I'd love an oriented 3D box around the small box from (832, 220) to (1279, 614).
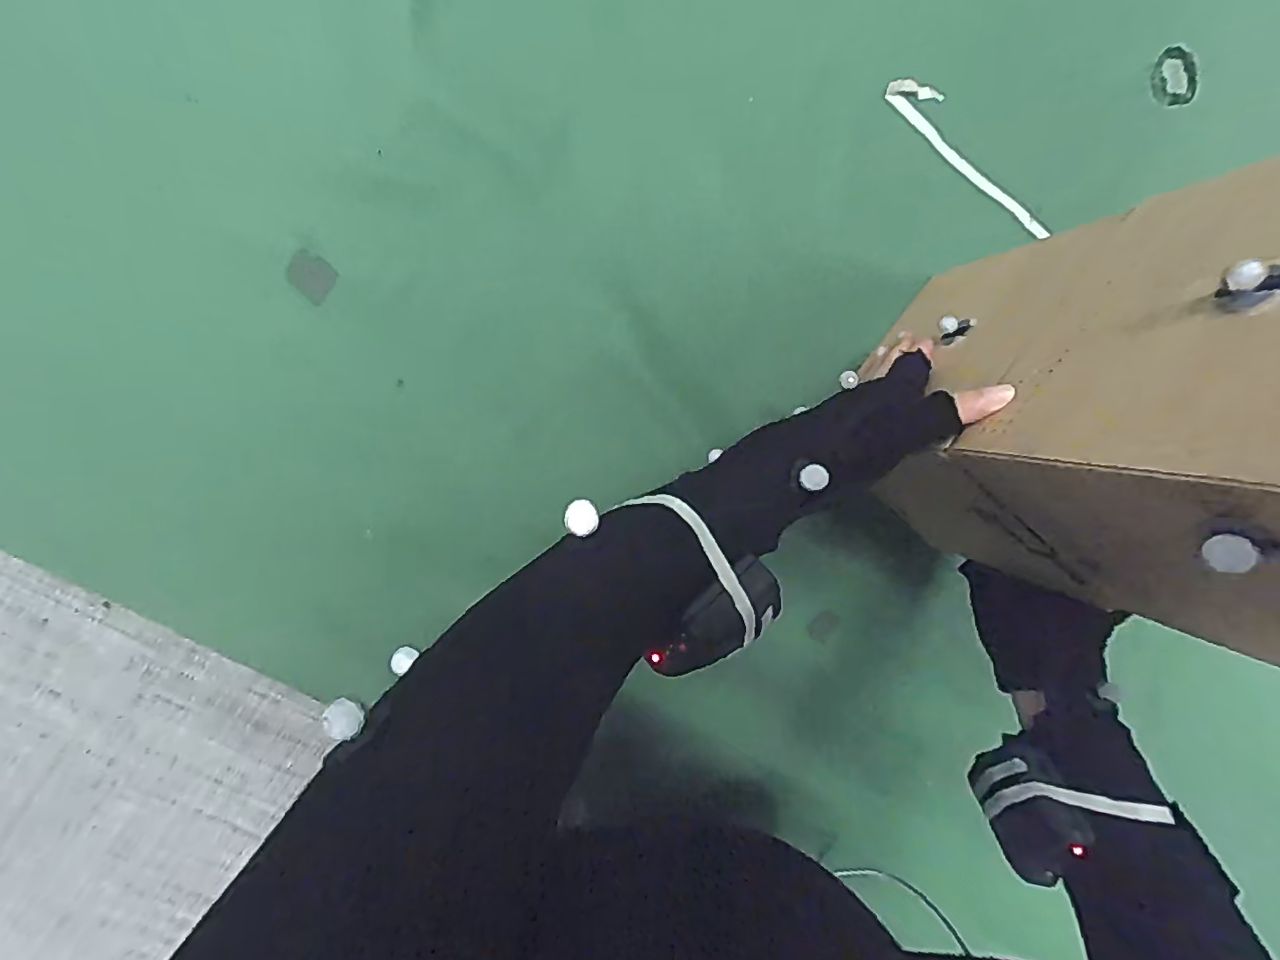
[{"bbox_3d":[0.271,-0.042,0.395,0.168,0.176,0.179,35,93,-12],"label":"small box"}]
